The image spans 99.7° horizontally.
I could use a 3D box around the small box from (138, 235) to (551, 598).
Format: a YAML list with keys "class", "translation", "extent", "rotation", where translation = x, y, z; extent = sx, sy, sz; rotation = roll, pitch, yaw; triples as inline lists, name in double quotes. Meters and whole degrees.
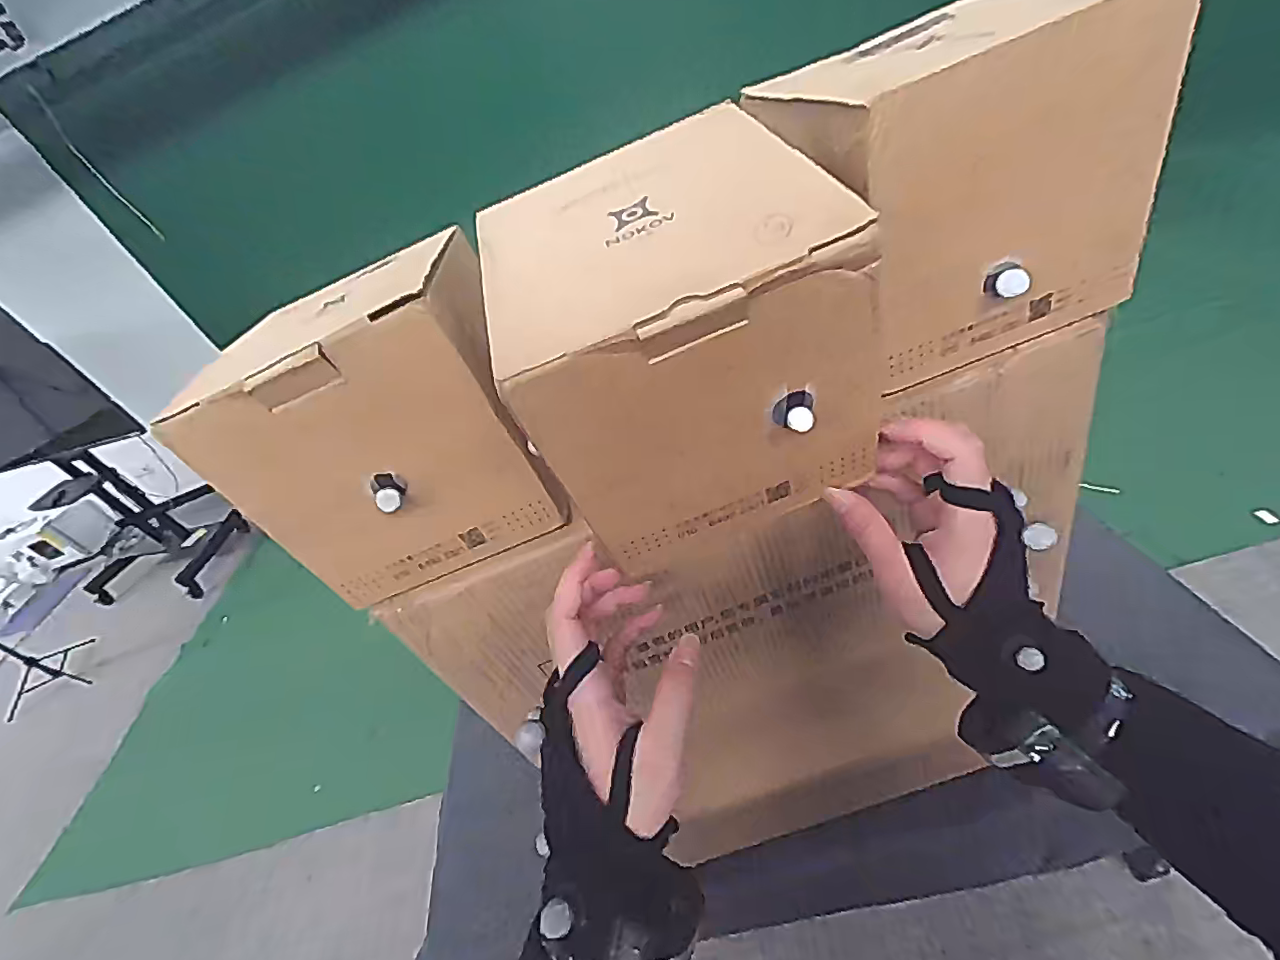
- class: "small box"
  translation: [-0.172, -0.040, 0.386]
  extent: [0.168, 0.176, 0.179]
  rotation: [-23, 37, 6]

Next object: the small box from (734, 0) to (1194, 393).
- class: "small box"
  translation: [0.178, -0.184, 0.351]
  extent: [0.168, 0.176, 0.179]
  rotation: [-22, 38, 4]

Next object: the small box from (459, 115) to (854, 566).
- class: "small box"
  translation: [0.012, -0.070, 0.320]
  extent: [0.168, 0.176, 0.179]
  rotation: [-22, 47, 4]
